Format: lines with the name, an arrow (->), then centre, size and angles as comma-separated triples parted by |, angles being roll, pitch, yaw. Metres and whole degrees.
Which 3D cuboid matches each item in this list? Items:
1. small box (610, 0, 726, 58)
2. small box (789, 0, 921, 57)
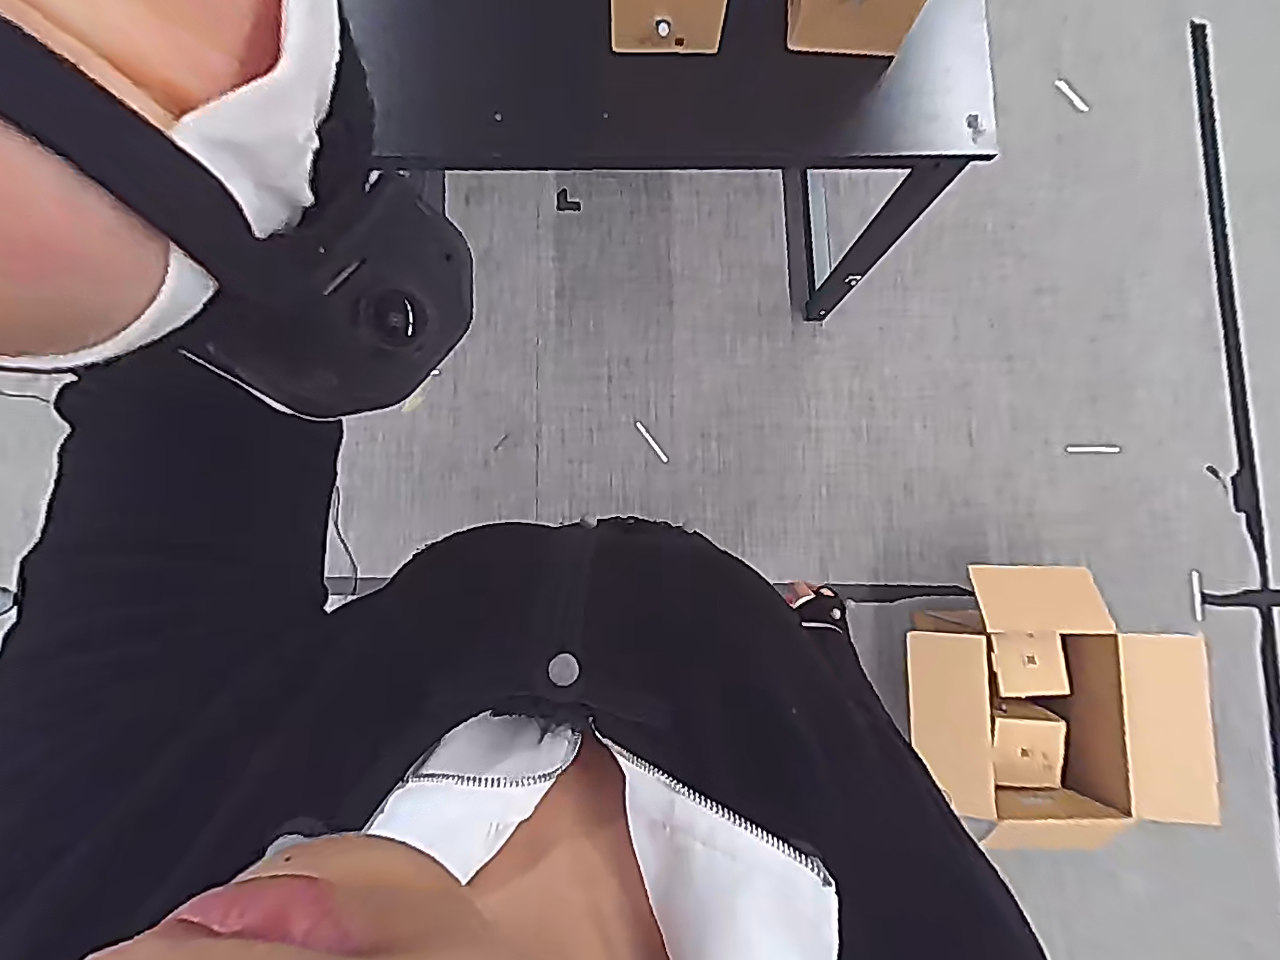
small box -> 0.040, -0.759, 0.774 | 0.168, 0.176, 0.179 | 0, 85, -1
small box -> 0.321, -0.757, 0.781 | 0.179, 0.176, 0.168 | 2, 85, 0
